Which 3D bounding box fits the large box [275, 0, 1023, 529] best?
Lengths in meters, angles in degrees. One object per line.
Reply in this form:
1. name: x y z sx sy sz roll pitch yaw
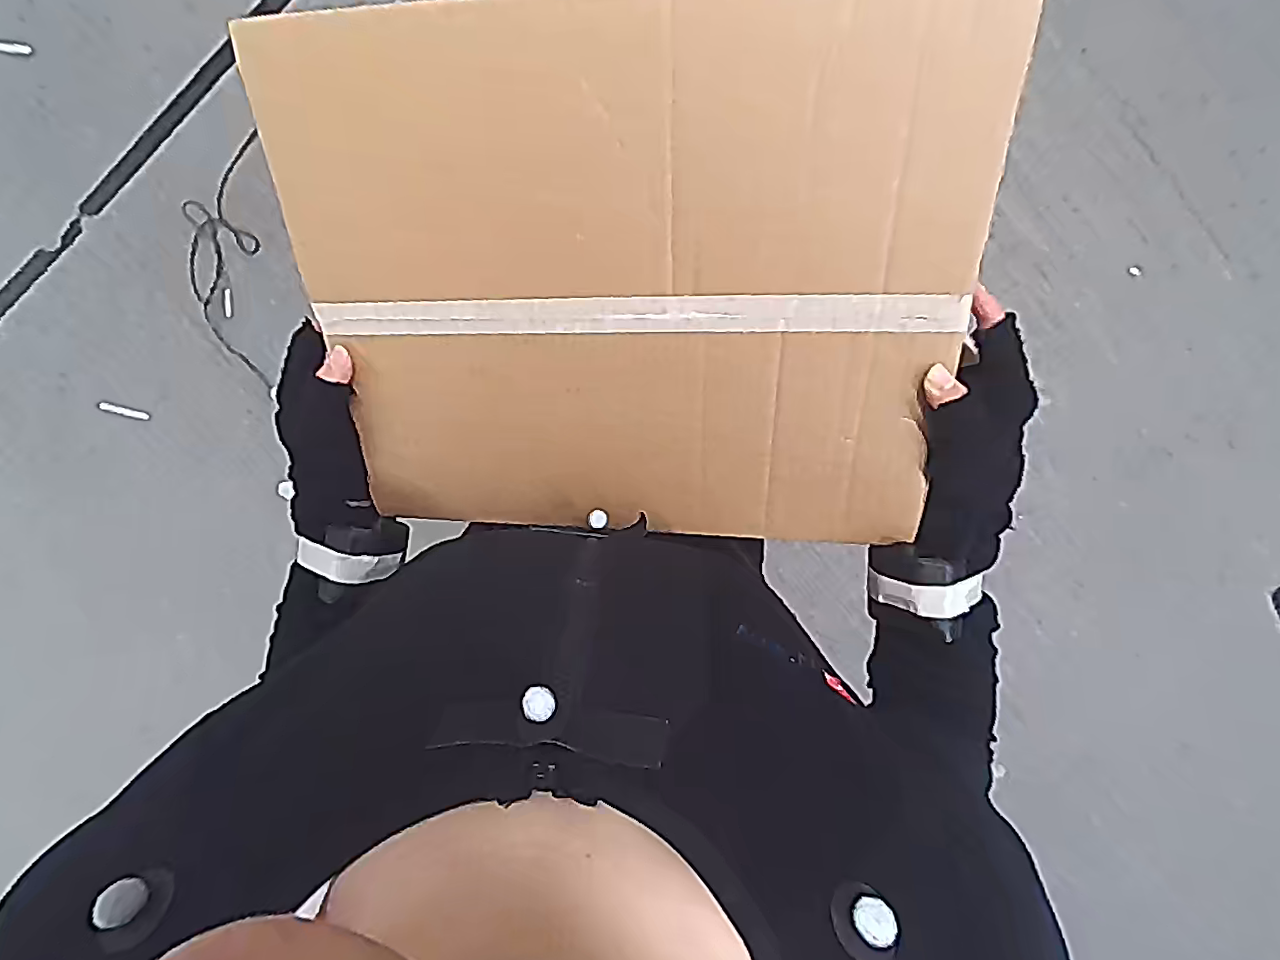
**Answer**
1. large box: 0.010 -0.172 0.478 0.408 0.320 0.320 2 119 8
